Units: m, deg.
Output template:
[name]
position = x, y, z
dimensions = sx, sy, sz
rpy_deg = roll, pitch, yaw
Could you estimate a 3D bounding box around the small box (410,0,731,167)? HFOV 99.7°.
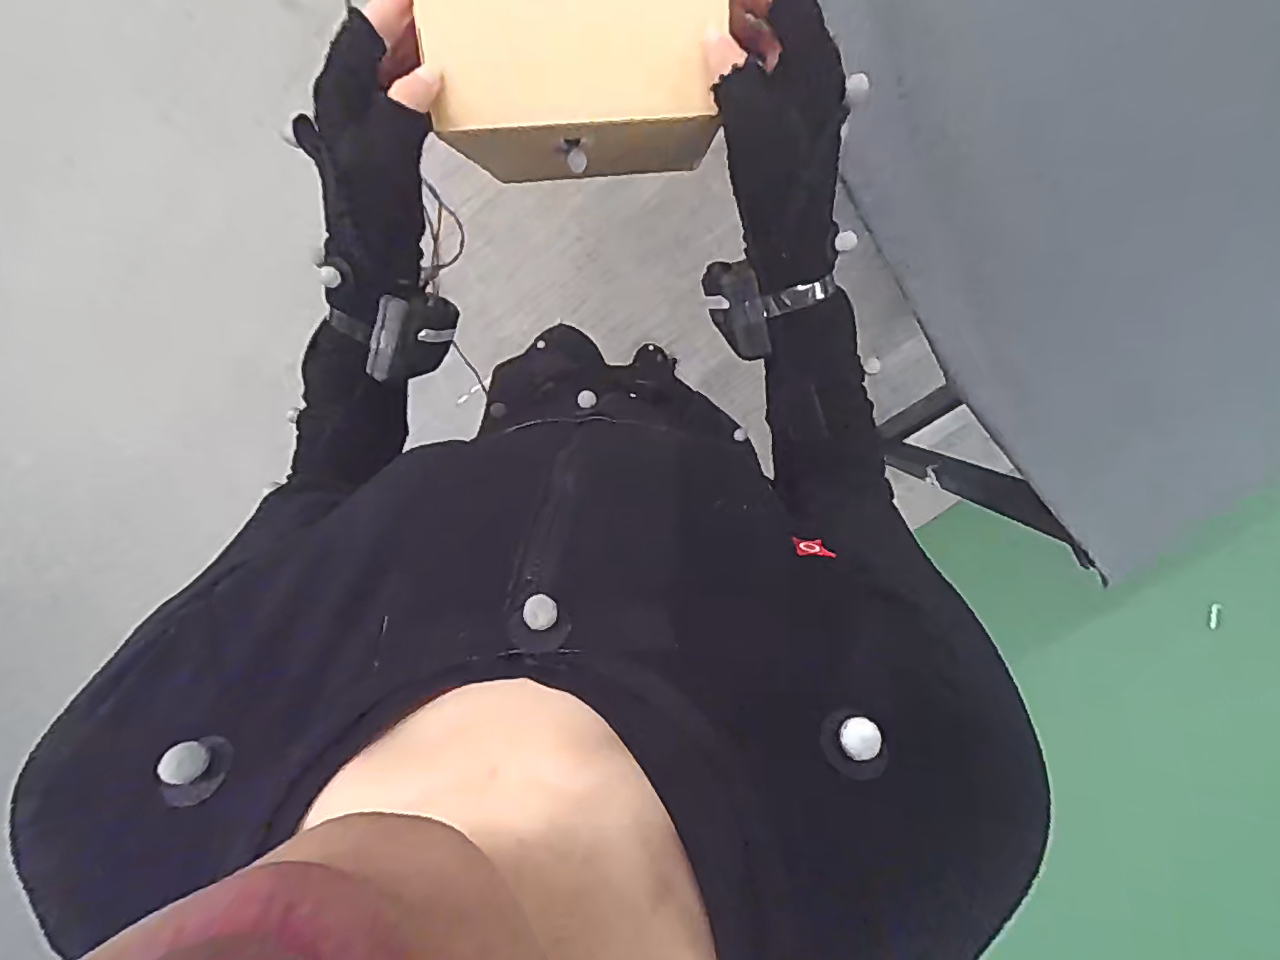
[small box]
position = -0.039, -0.316, 0.355
dimensions = 0.179, 0.176, 0.168
rpy_deg = -2, 111, 2
